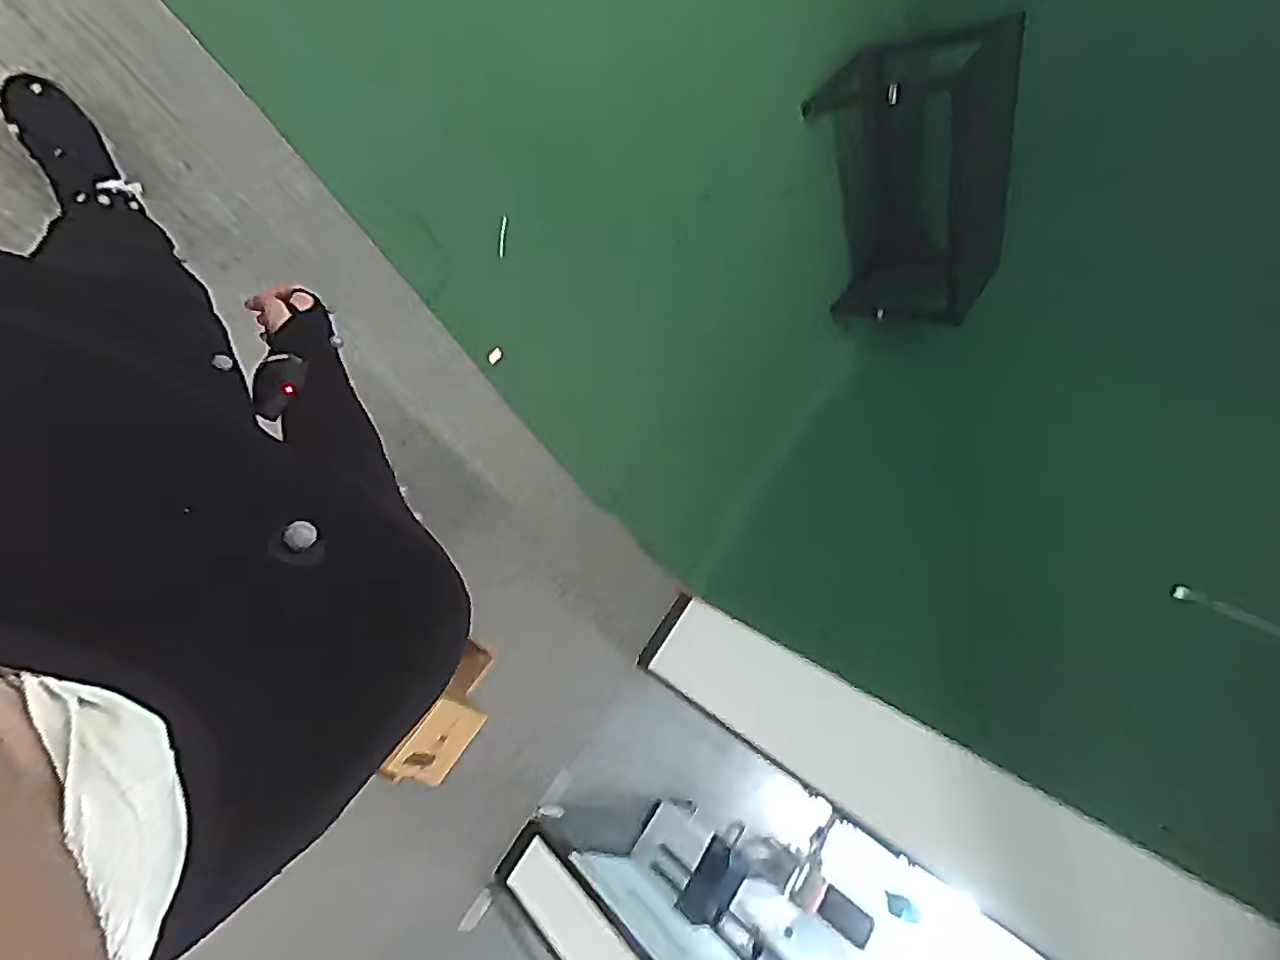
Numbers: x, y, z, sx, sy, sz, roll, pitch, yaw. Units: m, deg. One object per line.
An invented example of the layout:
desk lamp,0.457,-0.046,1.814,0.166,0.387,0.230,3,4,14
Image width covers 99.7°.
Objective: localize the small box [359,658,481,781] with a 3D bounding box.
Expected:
small box,-0.511,0.548,1.243,0.179,0.176,0.168,-53,139,-18
